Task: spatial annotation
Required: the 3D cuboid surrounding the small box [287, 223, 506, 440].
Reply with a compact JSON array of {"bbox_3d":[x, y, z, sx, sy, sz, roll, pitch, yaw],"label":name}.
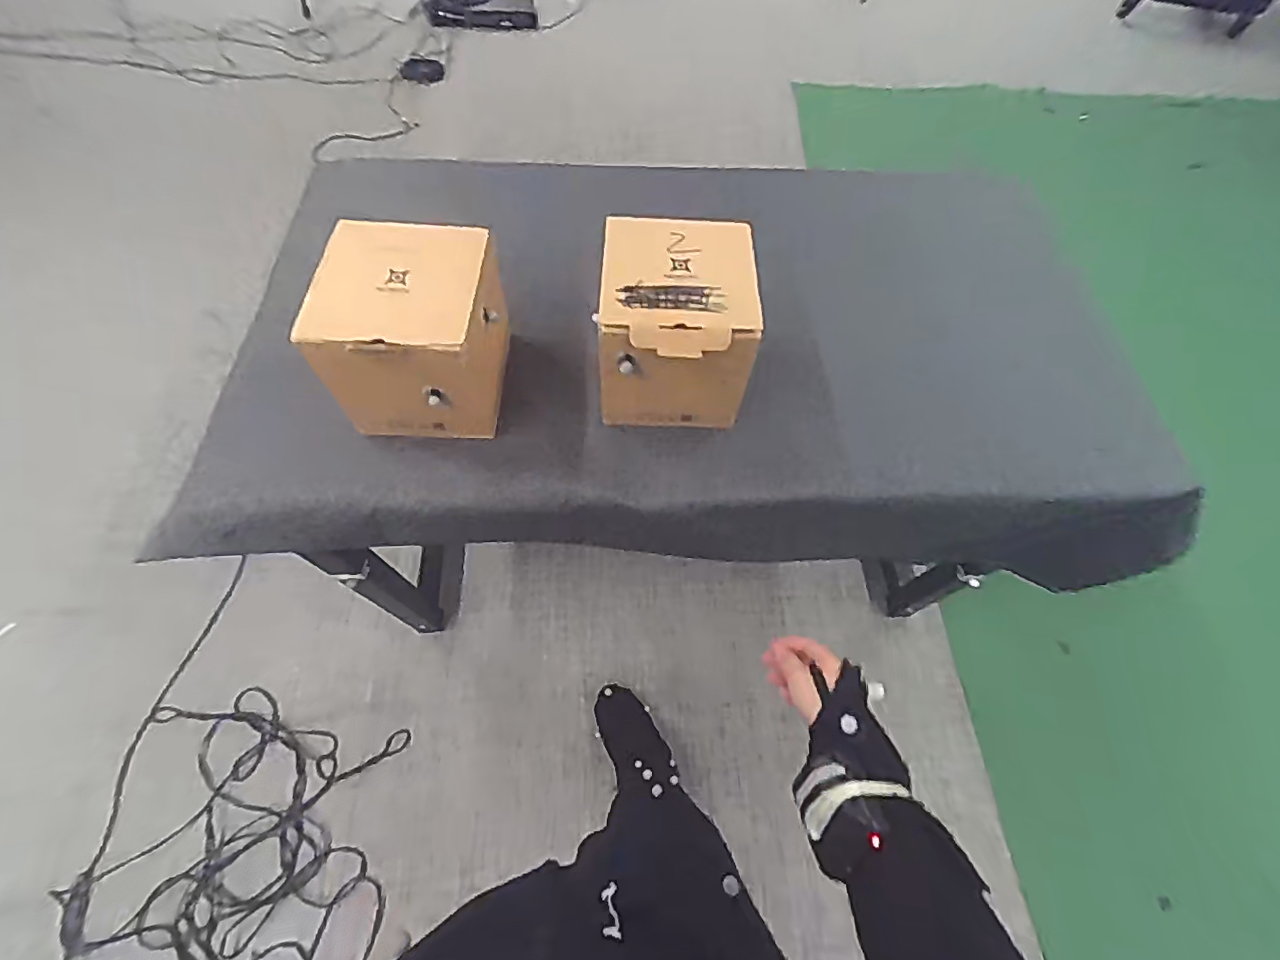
[{"bbox_3d":[-0.255,-0.161,0.619,0.168,0.176,0.179,3,60,-4],"label":"small box"}]
